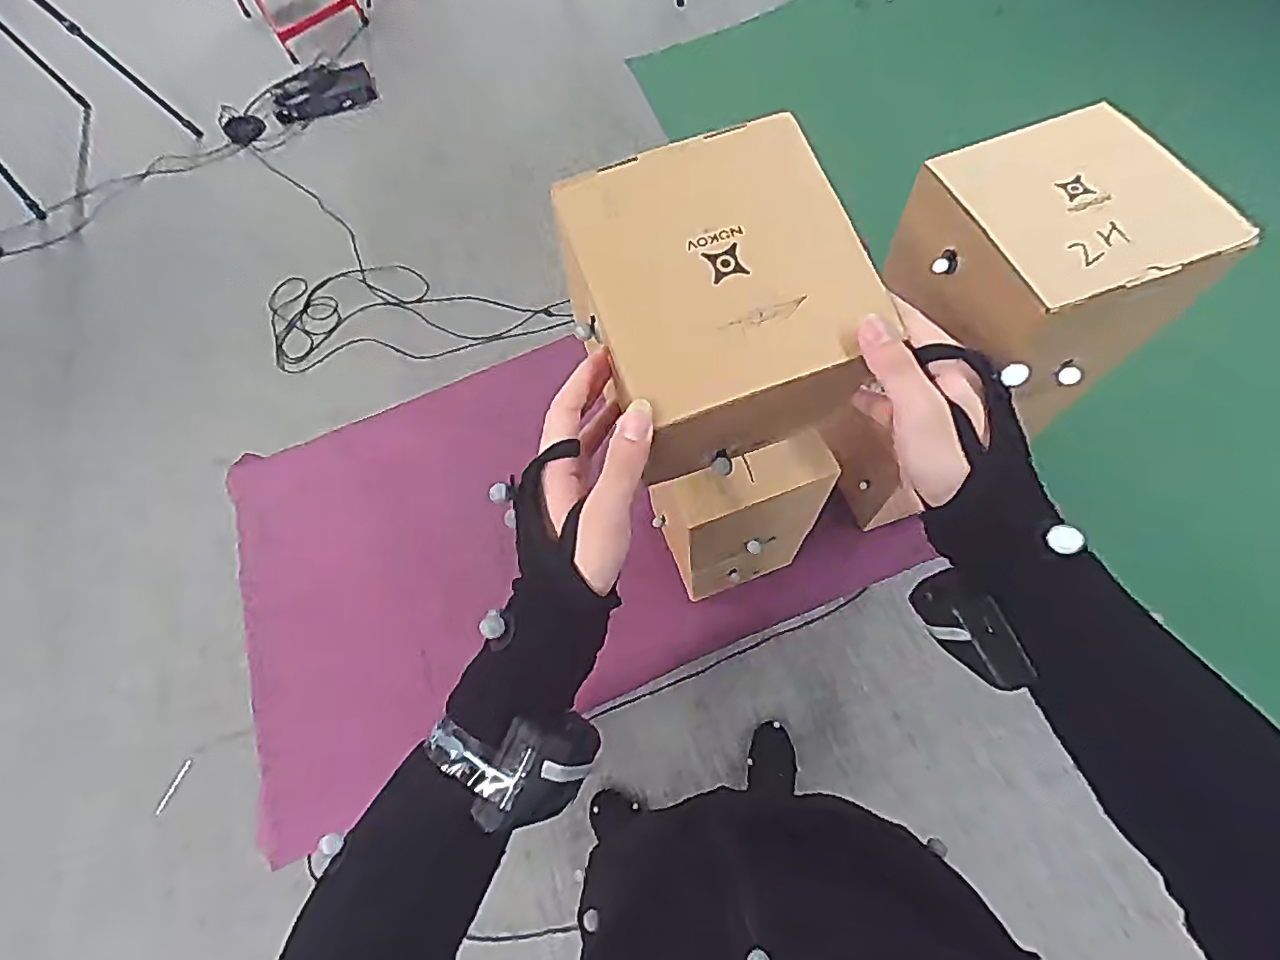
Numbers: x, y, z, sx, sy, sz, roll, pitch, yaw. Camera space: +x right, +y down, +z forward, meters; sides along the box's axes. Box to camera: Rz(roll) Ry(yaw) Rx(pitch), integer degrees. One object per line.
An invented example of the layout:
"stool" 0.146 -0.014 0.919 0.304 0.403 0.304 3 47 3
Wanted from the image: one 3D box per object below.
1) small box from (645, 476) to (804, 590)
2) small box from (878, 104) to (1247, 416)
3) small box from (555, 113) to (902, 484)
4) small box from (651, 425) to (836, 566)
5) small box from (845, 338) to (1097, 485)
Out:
"small box" 0.114 0.046 0.781 0.168 0.176 0.179 -21 65 -3
"small box" 0.343 -0.188 0.493 0.168 0.176 0.179 -18 67 -1
"small box" 0.048 -0.116 0.403 0.168 0.176 0.179 -19 78 -4
"small box" 0.098 -0.022 0.632 0.168 0.176 0.179 -21 65 -2
"small box" 0.361 -0.120 0.641 0.168 0.176 0.179 -19 65 -1
